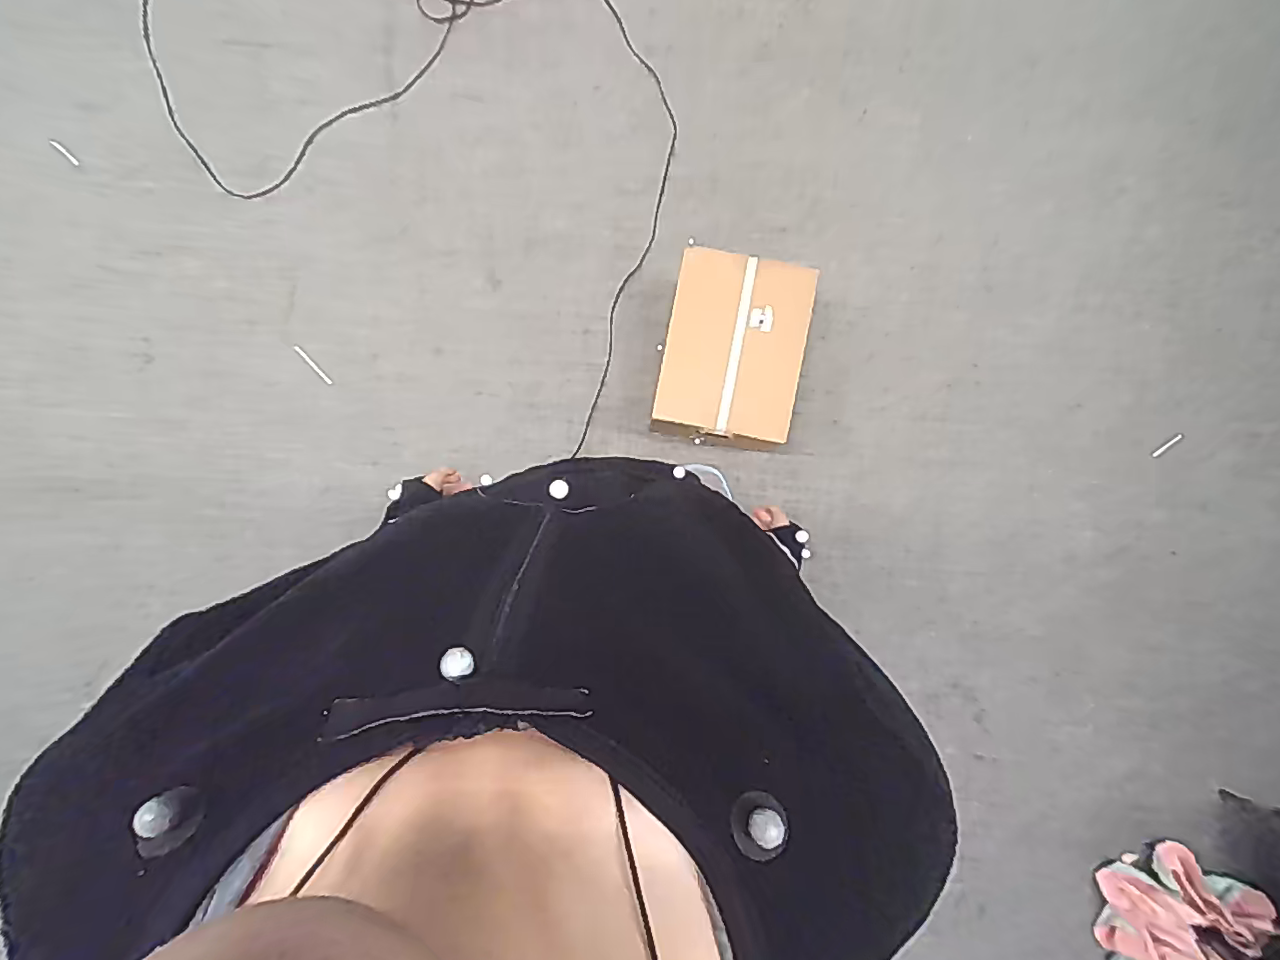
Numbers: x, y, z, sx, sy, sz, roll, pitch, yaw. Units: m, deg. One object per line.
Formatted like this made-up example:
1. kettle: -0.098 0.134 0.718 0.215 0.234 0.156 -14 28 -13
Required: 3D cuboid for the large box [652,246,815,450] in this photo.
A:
1. large box: 0.215 -0.306 1.372 0.320 0.320 0.408 11 89 -1
